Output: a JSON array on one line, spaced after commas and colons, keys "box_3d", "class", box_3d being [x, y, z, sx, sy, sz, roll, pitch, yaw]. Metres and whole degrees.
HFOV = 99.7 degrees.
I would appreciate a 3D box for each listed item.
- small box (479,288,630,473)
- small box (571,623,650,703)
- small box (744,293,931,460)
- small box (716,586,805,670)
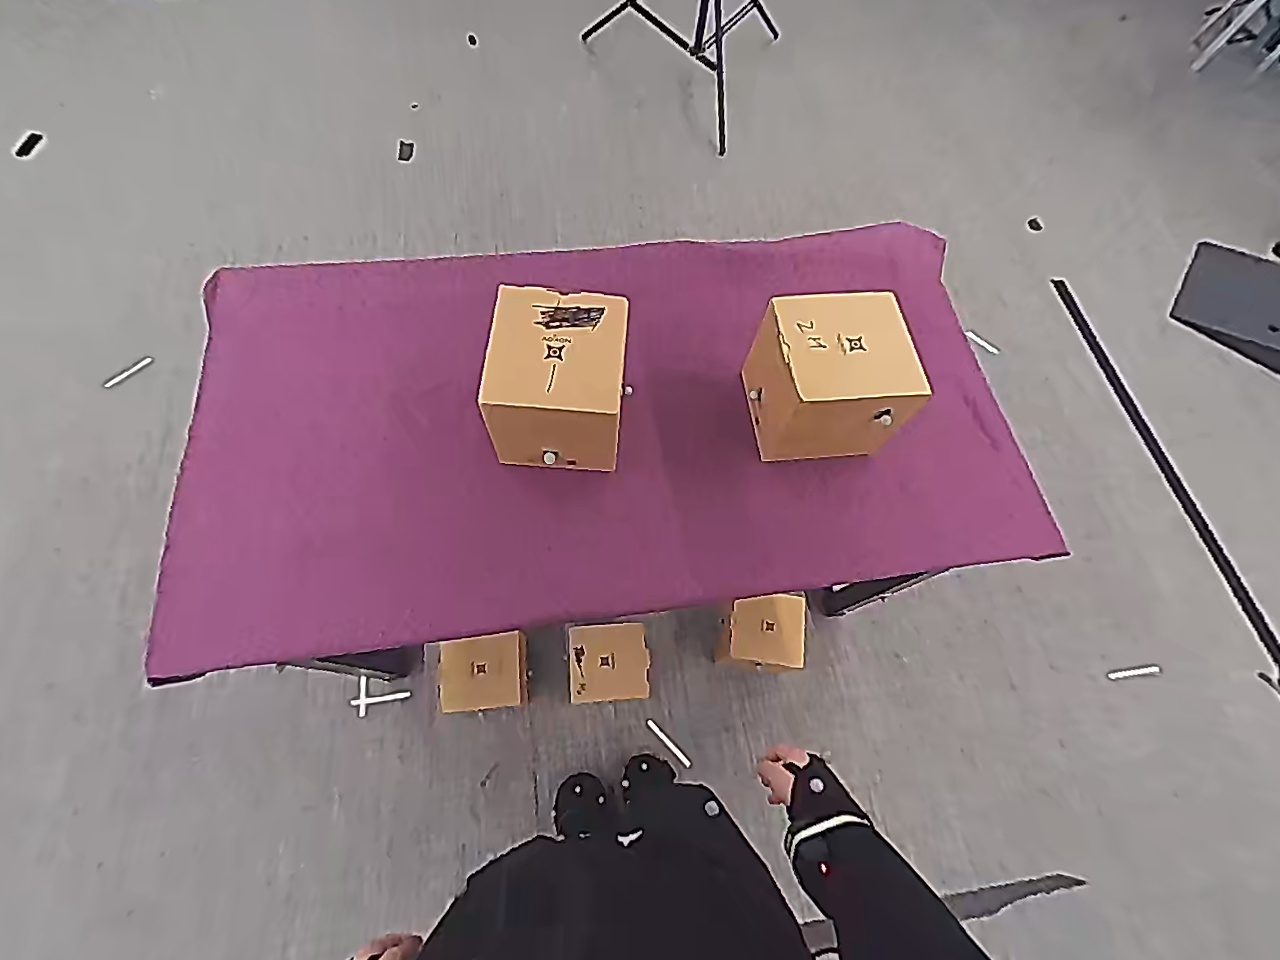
[{"box_3d": [-0.106, -0.127, 0.731, 0.168, 0.176, 0.179, 4, 67, -2], "class": "small box"}, {"box_3d": [-0.075, 0.437, 1.286, 0.179, 0.176, 0.168, -2, 67, -5], "class": "small box"}, {"box_3d": [0.263, -0.139, 0.763, 0.179, 0.176, 0.168, -5, 66, -6], "class": "small box"}, {"box_3d": [0.296, 0.373, 1.342, 0.179, 0.176, 0.168, 9, 67, 1], "class": "small box"}]
